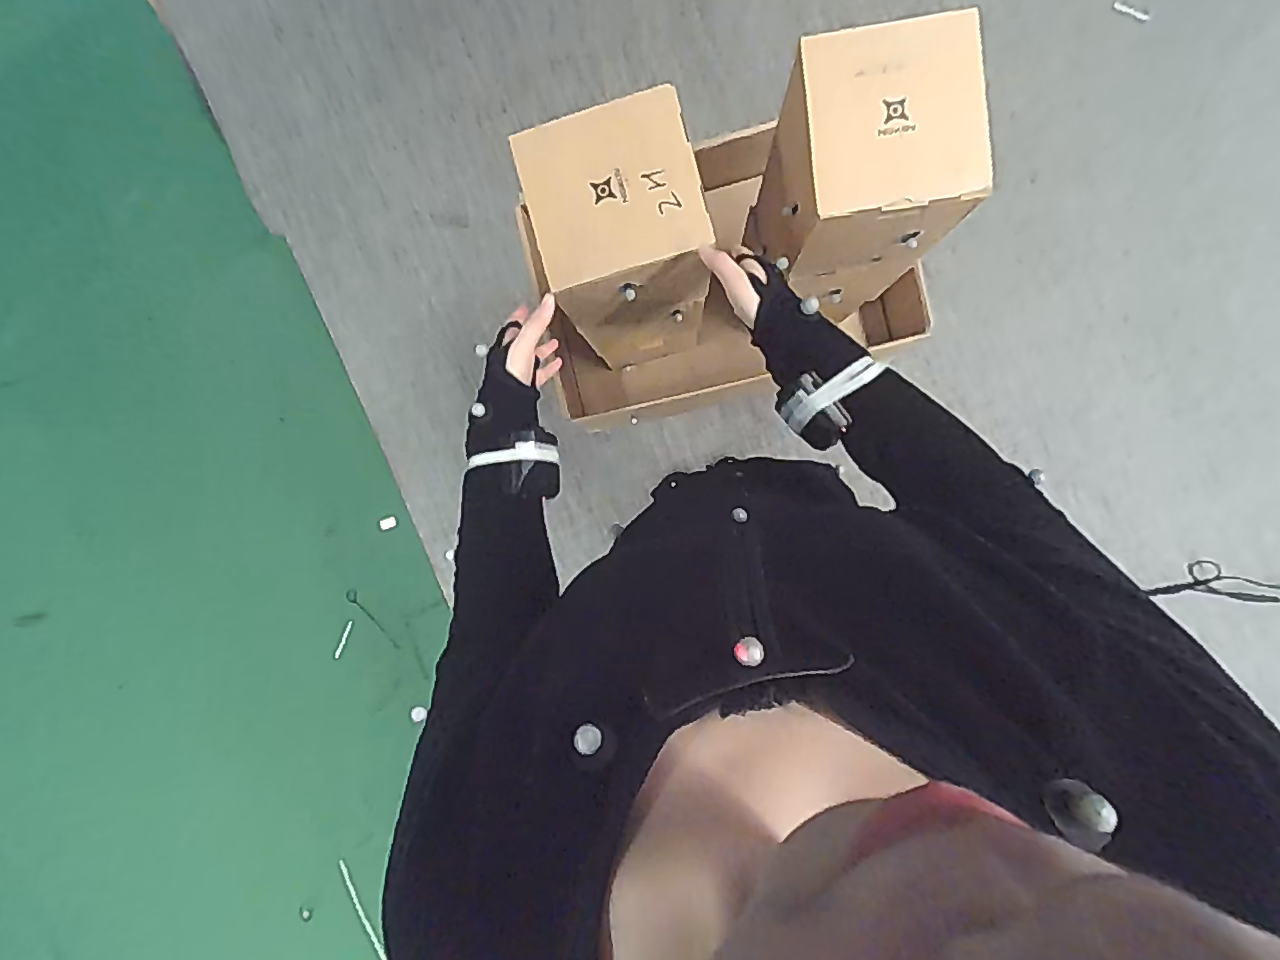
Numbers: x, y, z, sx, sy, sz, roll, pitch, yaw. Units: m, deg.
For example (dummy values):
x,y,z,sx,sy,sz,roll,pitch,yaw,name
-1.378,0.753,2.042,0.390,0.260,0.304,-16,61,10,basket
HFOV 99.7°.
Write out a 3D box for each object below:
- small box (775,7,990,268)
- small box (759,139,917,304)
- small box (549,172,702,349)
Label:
x,y,z,sx,sy,sz,roll,pitch,yaw,name
0.247,-0.348,0.590,0.168,0.176,0.179,-6,91,5,small box
0.264,-0.354,0.753,0.168,0.176,0.179,-6,92,6,small box
-0.012,-0.302,0.785,0.179,0.176,0.168,-14,91,5,small box
